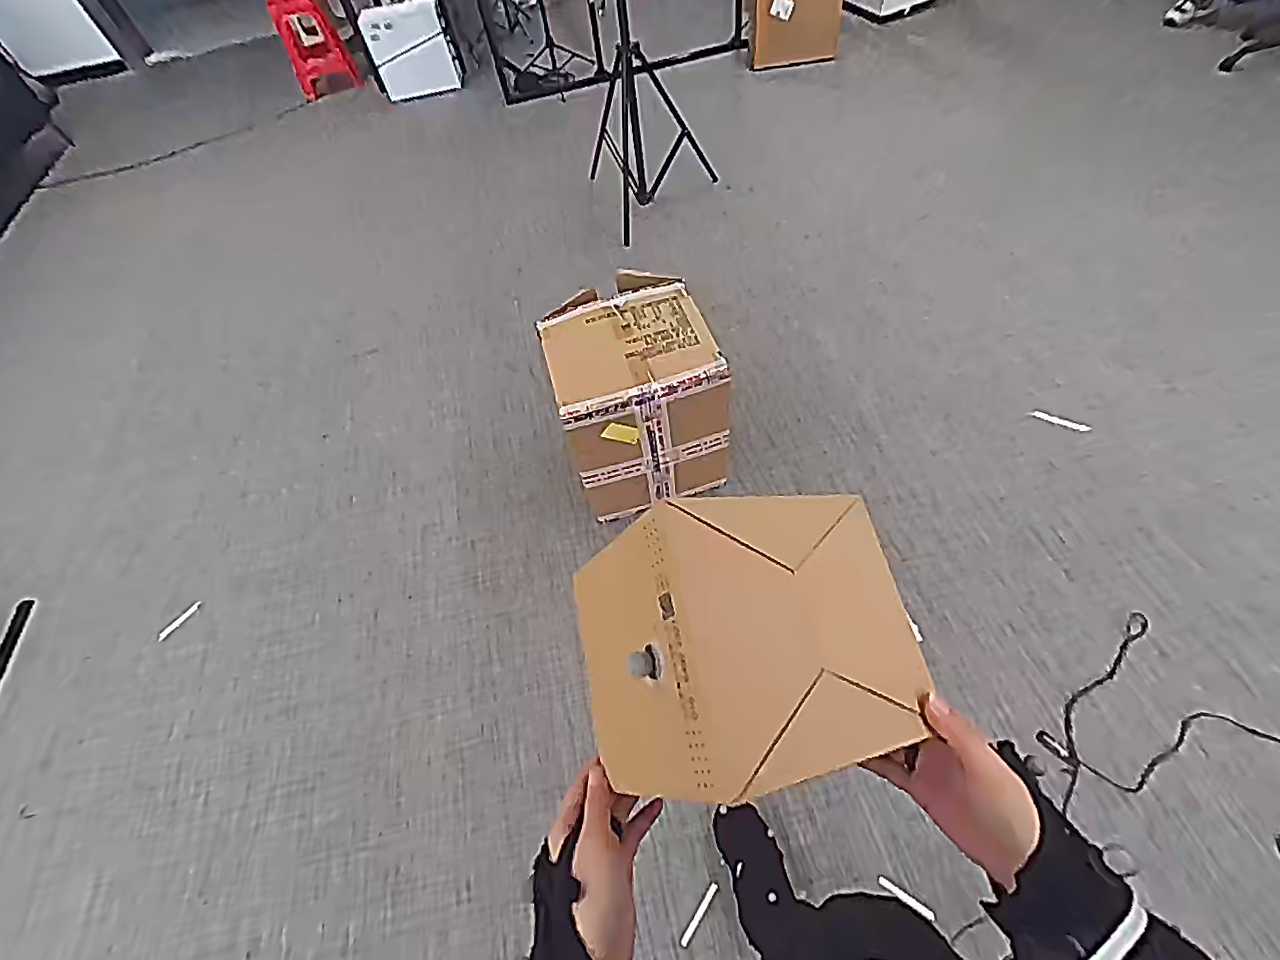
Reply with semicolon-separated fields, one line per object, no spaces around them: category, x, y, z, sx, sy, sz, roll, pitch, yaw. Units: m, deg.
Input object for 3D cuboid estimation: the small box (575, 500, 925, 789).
small box;0.070;0.122;0.406;0.179;0.176;0.168;1;64;-28
